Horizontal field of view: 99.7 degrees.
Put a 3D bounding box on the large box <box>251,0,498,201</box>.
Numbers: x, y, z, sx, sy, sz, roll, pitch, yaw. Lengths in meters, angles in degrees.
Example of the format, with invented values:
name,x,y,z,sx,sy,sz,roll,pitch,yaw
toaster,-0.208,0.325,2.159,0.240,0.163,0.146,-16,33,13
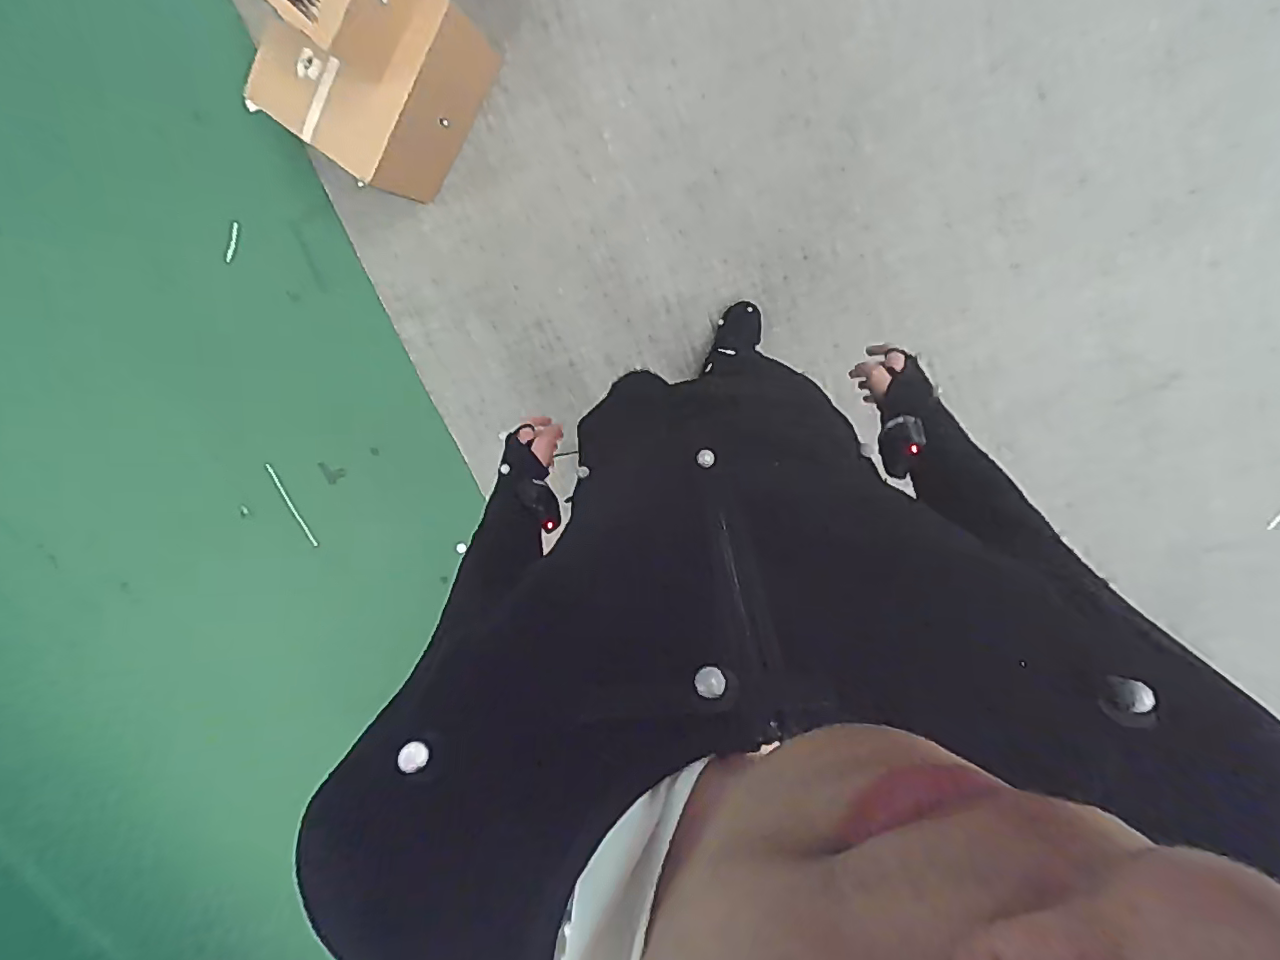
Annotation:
name,x,y,z,sx,sy,sz,roll,pitch,yaw
large box,-0.593,-0.939,1.255,0.320,0.320,0.408,35,110,-6
